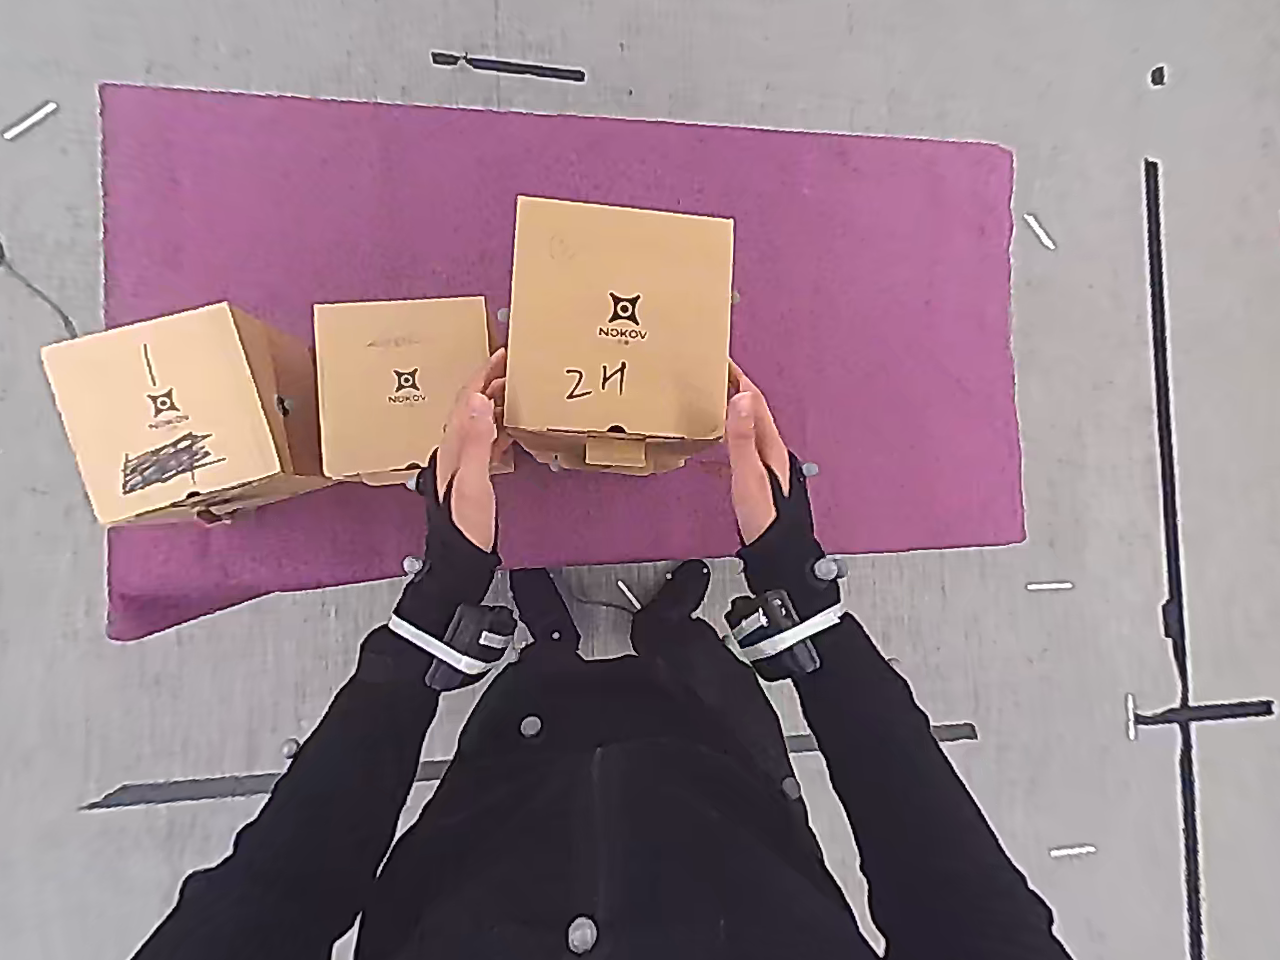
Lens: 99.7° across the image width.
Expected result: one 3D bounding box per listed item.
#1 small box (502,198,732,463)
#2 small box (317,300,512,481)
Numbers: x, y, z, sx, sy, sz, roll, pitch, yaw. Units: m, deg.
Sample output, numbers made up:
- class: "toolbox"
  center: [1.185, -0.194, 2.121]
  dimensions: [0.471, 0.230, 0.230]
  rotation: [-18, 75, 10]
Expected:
- class: "small box"
  center: [-0.024, -0.114, 0.484]
  dimensions: [0.168, 0.176, 0.179]
  rotation: [4, 87, -6]
- class: "small box"
  center: [-0.243, -0.091, 0.622]
  dimensions: [0.168, 0.176, 0.179]
  rotation: [-5, 89, -9]
